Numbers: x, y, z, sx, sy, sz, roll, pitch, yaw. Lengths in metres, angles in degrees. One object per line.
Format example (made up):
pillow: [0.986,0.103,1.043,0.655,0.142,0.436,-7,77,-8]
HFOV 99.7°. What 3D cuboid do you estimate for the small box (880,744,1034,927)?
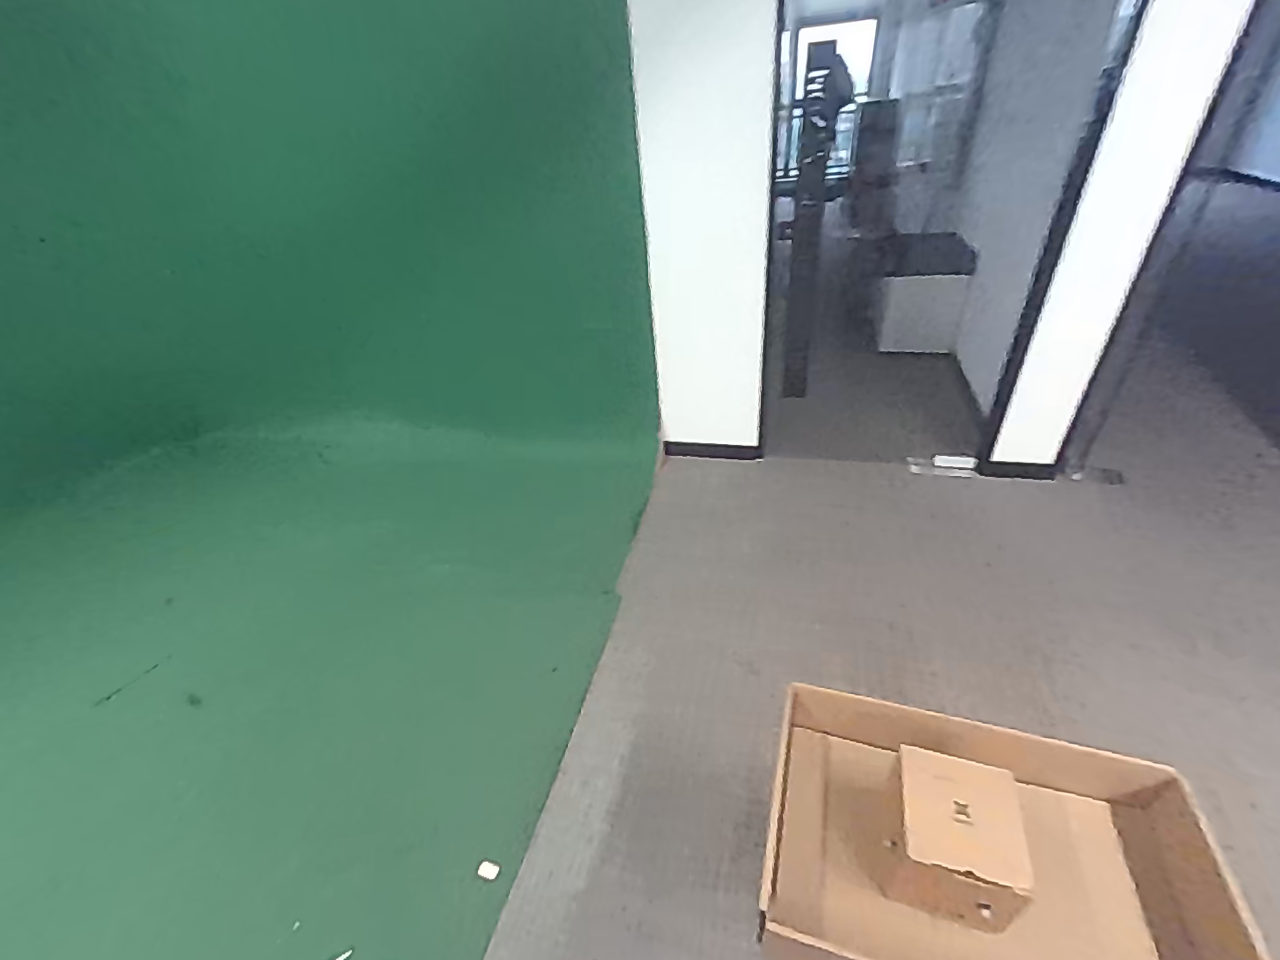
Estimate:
small box: [0.491,0.569,0.867,0.168,0.176,0.179,9,37,16]
